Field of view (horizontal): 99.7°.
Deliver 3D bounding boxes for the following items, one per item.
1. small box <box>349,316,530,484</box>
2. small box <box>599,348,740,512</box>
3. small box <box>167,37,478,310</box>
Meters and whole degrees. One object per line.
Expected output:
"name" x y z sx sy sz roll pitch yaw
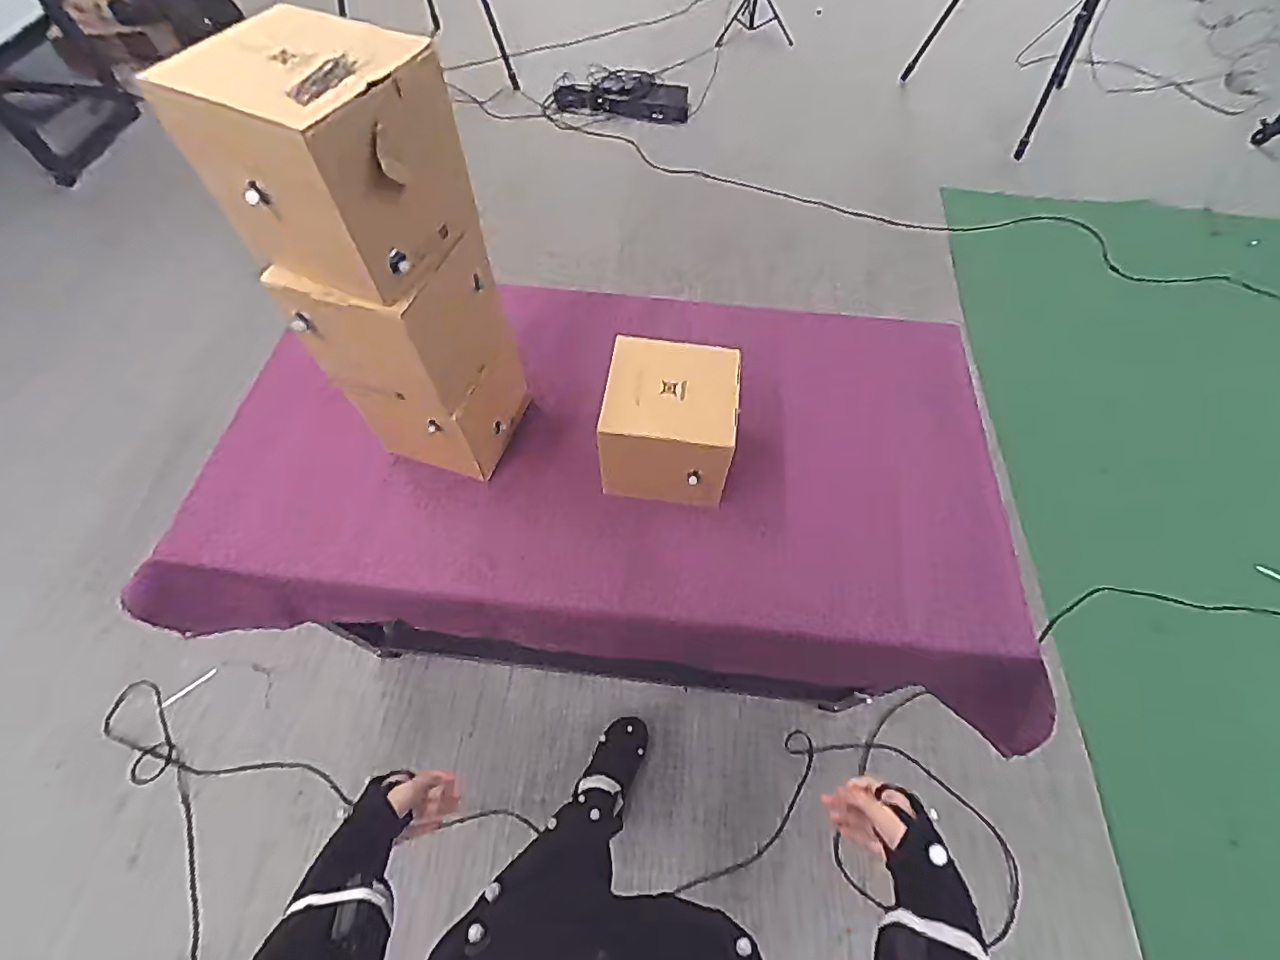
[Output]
"small box" -0.286 -0.115 0.818 0.179 0.176 0.168 16 60 8
"small box" 0.043 -0.067 0.795 0.179 0.176 0.168 7 58 4
"small box" -0.291 -0.300 0.546 0.179 0.176 0.168 22 60 12
